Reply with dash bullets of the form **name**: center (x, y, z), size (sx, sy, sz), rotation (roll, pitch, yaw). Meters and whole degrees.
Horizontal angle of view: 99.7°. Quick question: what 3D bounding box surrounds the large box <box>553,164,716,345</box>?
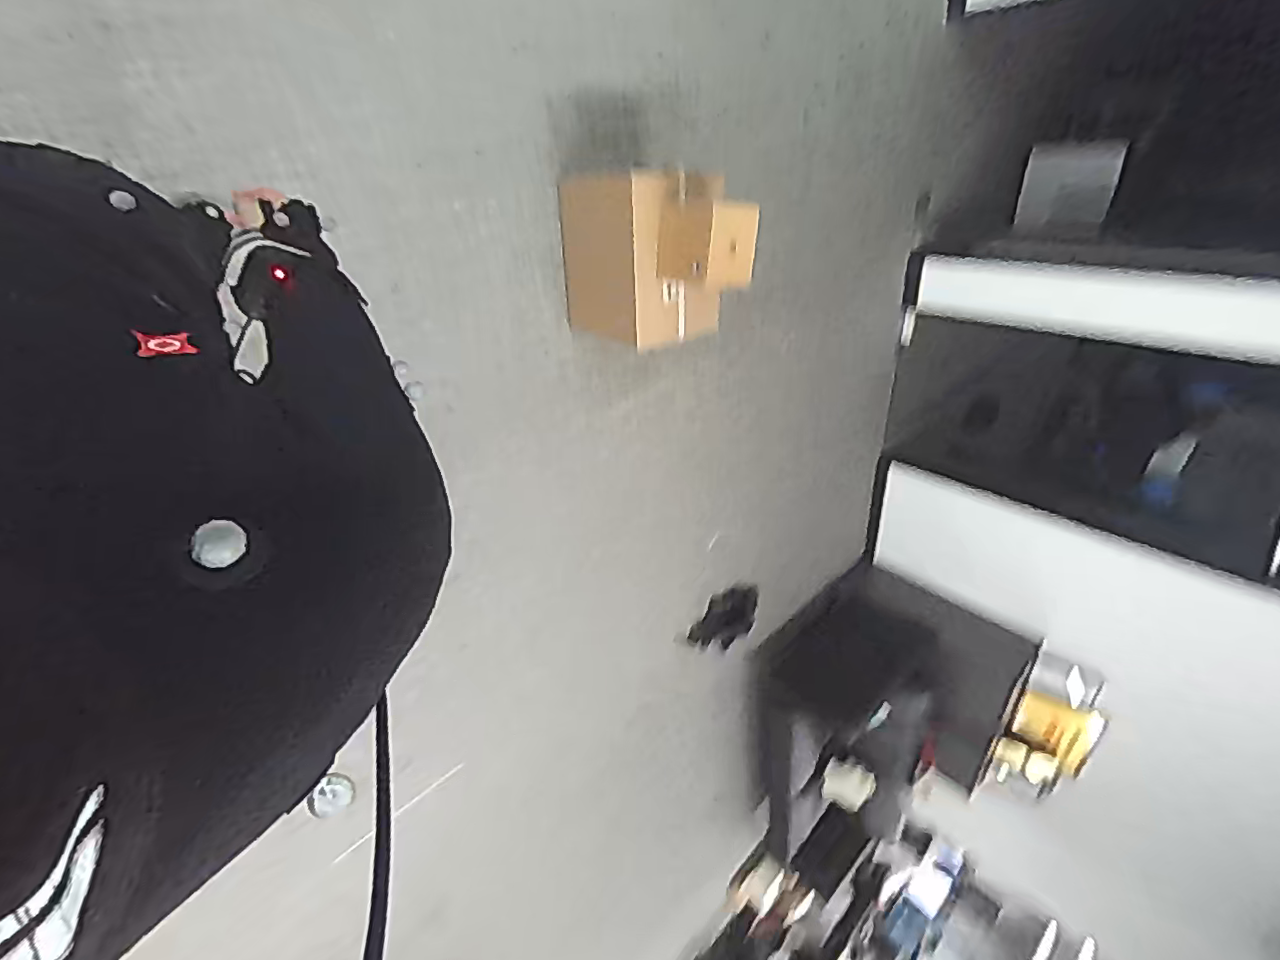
- **large box**: center (-0.012, -0.628, 1.482), size (0.320, 0.320, 0.408), rotation (-25, 128, -33)

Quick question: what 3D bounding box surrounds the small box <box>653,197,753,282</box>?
- **small box**: center (0.147, -0.579, 1.300), size (0.168, 0.176, 0.179), rotation (-20, 124, -38)
